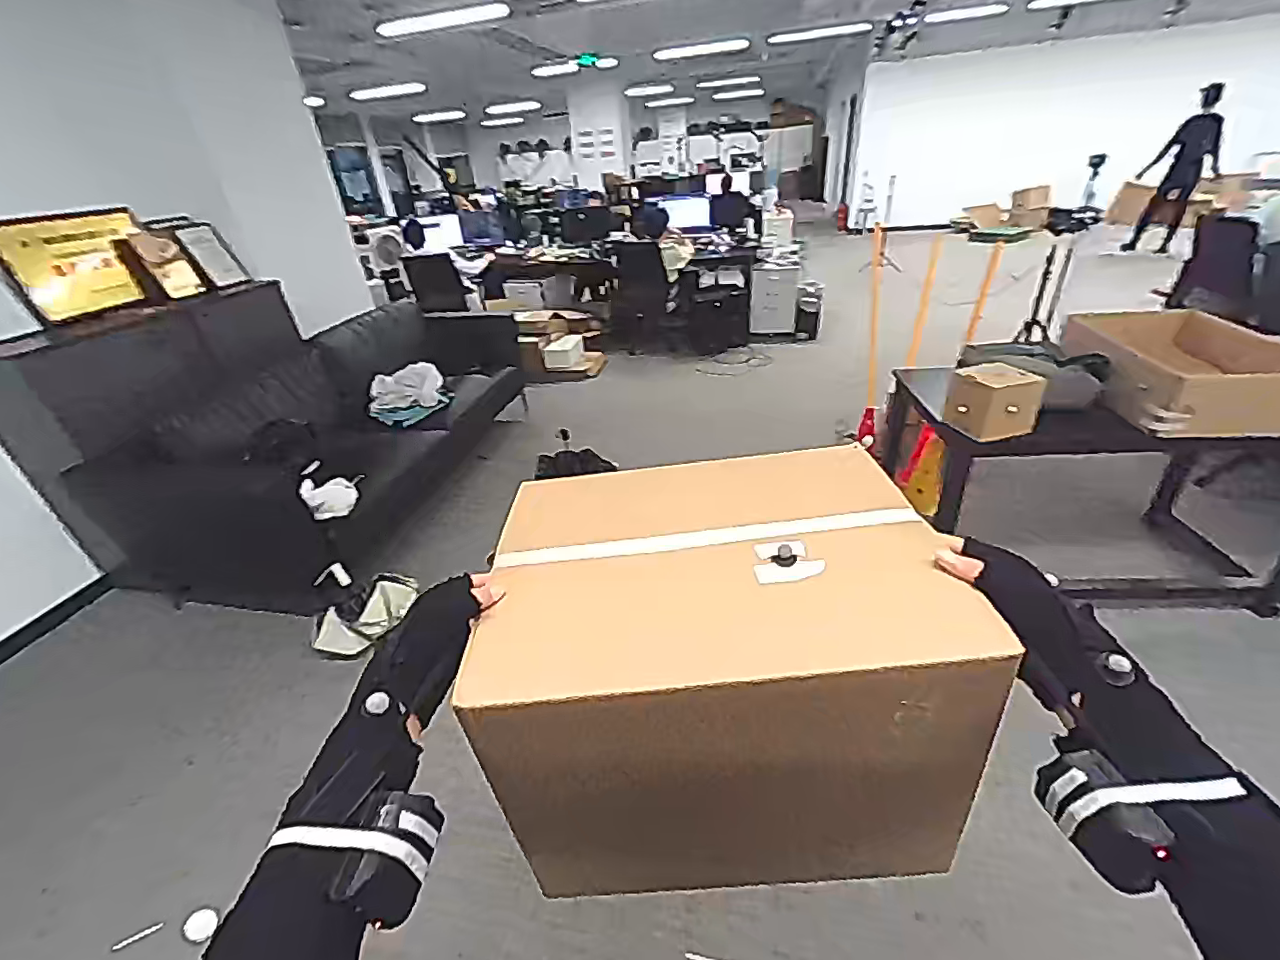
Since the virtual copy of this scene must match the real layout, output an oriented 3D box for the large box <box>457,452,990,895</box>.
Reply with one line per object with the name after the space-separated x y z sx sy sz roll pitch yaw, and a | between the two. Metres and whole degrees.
0.070 0.195 0.595 0.408 0.320 0.320 -7 31 2 | large box
